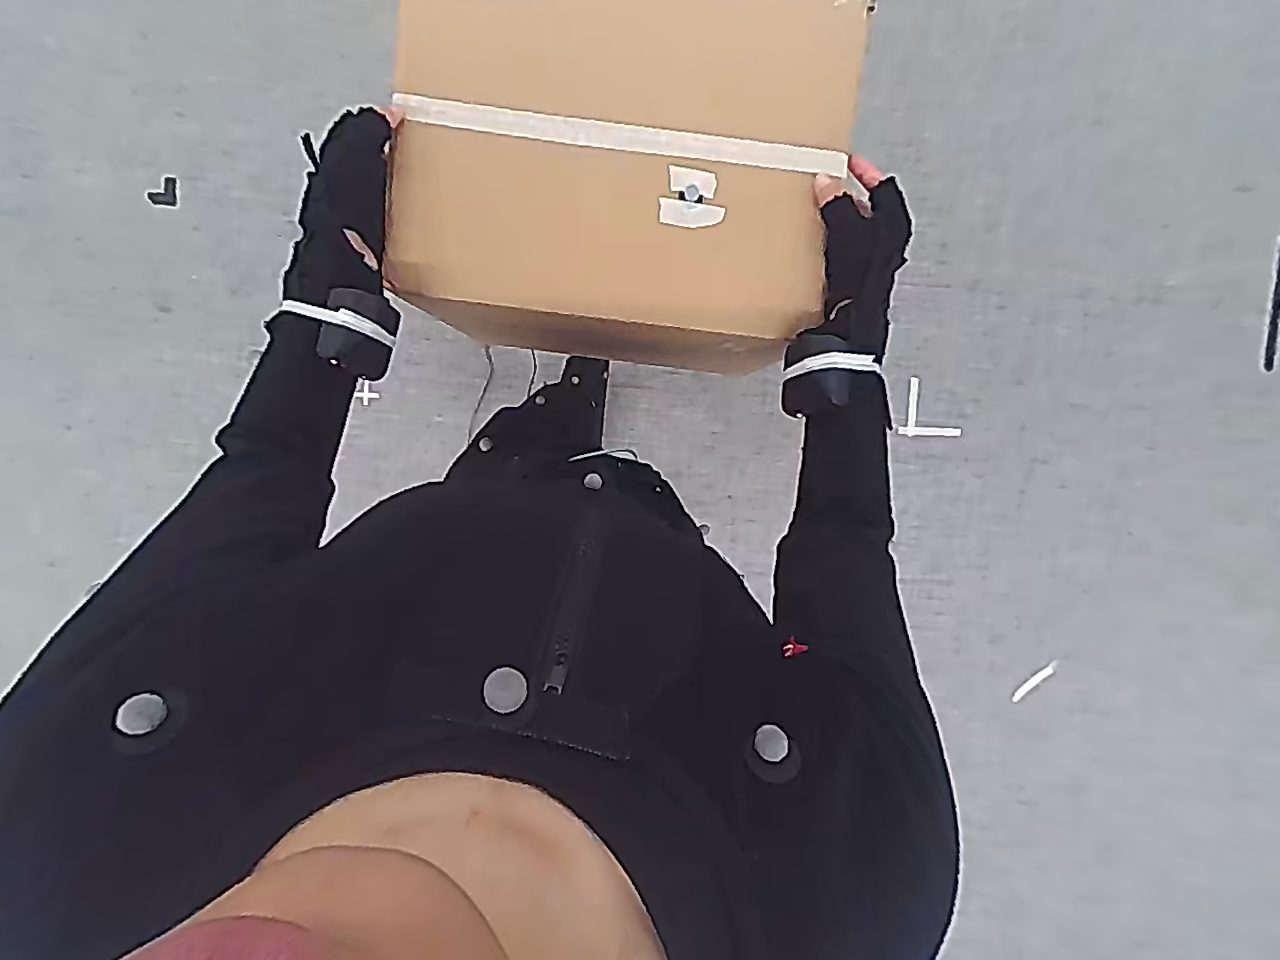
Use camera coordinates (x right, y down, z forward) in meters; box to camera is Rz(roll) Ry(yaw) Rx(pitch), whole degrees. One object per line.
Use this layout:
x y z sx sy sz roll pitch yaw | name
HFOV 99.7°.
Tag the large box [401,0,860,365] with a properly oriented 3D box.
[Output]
-0.018 -0.327 0.644 0.408 0.320 0.320 7 97 -3 | large box
